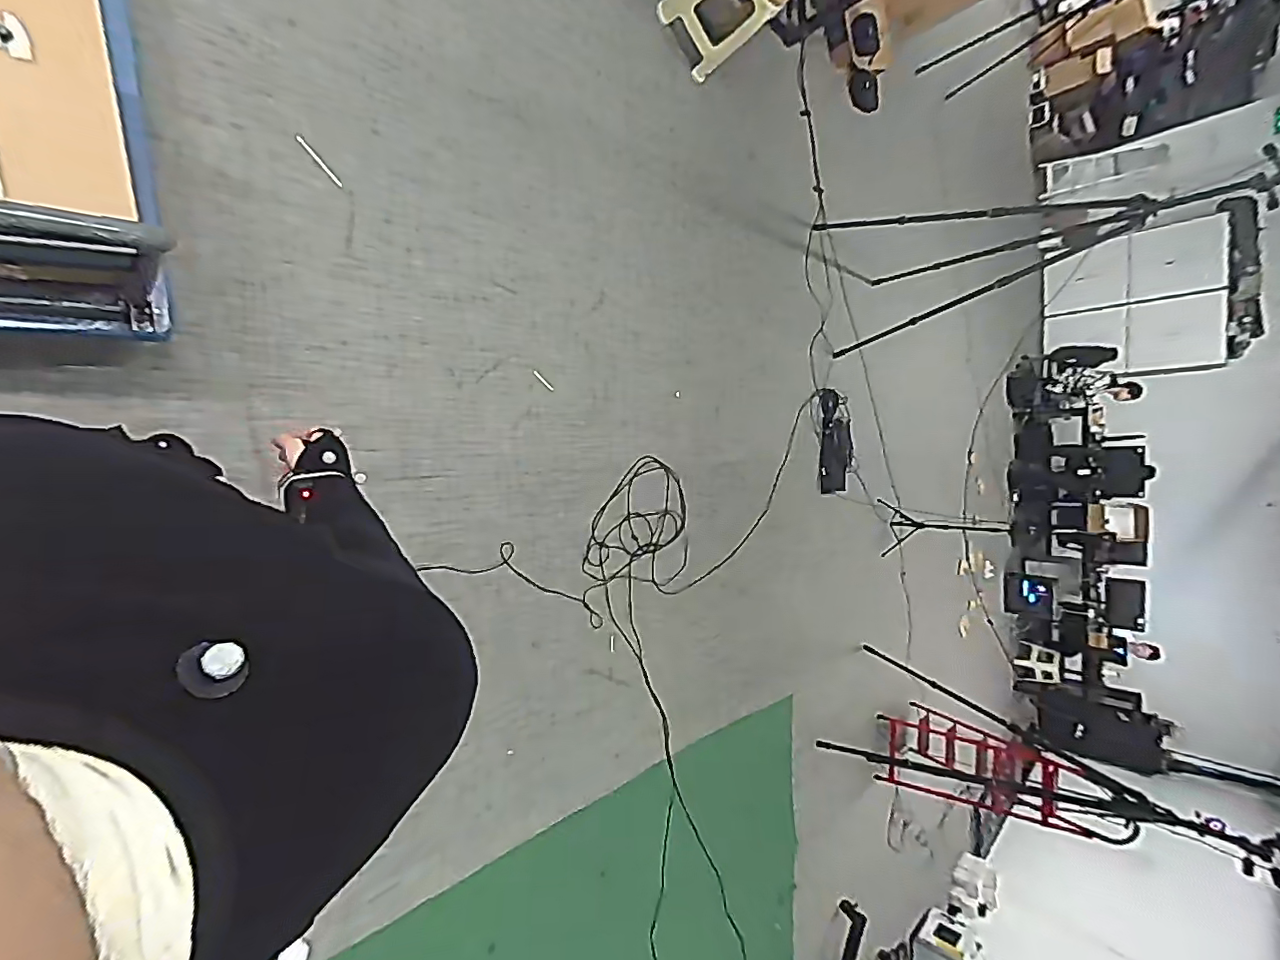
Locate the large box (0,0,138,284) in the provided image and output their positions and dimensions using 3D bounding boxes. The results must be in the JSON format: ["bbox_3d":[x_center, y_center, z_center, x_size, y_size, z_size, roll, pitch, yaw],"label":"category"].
[{"bbox_3d":[-1.047,-0.562,0.859,0.320,0.320,0.408,-12,98,-44],"label":"large box"}]
